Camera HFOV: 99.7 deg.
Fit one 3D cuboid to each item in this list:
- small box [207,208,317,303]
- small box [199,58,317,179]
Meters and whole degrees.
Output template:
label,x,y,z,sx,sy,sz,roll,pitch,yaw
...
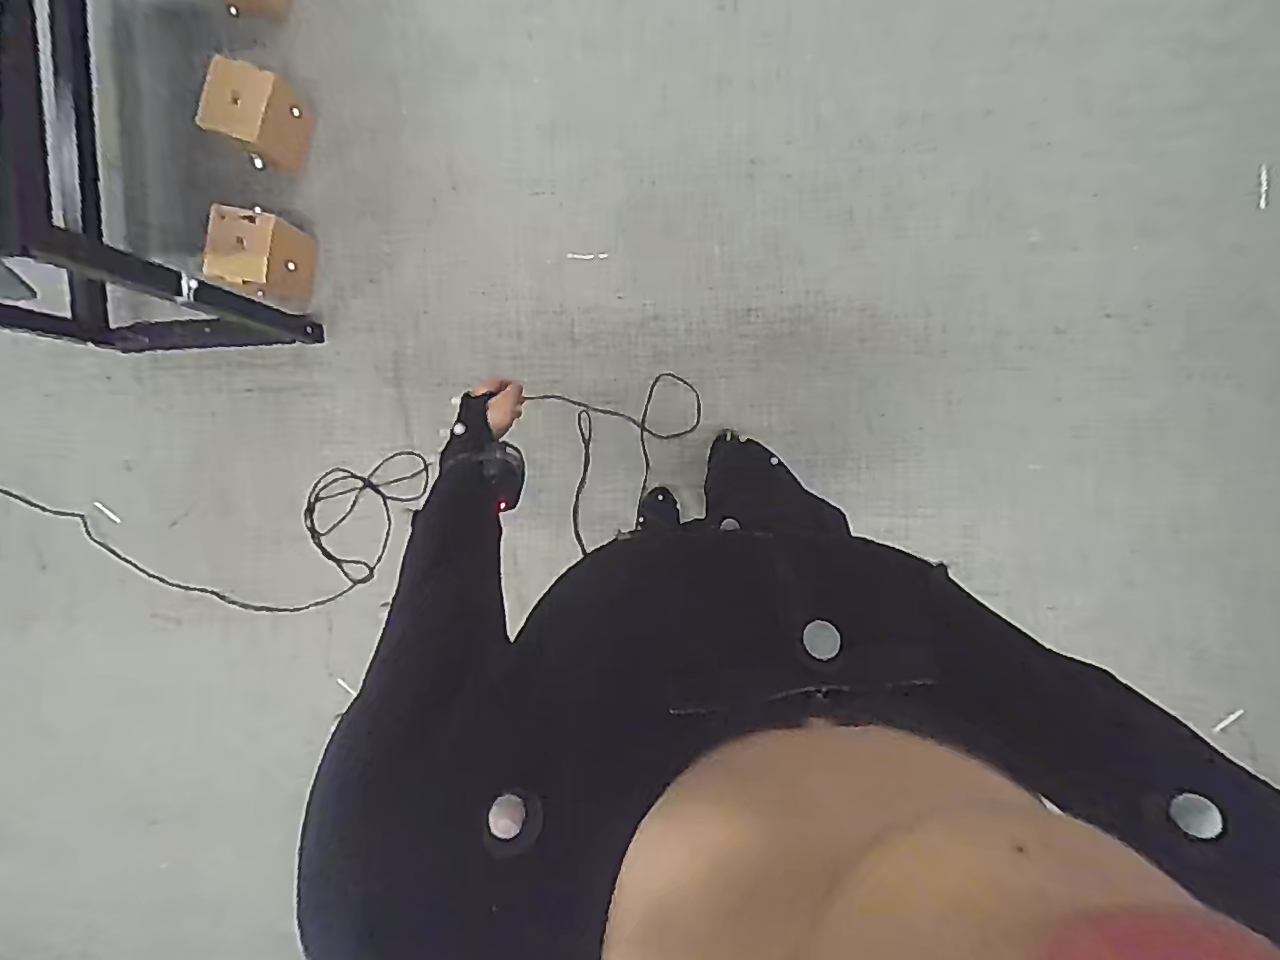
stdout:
label,x,y,z,sx,sy,sz,roll,pitch,yaw
small box,-0.978,-0.577,1.413,0.168,0.176,0.179,11,94,1
small box,-0.975,-0.924,1.395,0.168,0.176,0.179,19,95,2
